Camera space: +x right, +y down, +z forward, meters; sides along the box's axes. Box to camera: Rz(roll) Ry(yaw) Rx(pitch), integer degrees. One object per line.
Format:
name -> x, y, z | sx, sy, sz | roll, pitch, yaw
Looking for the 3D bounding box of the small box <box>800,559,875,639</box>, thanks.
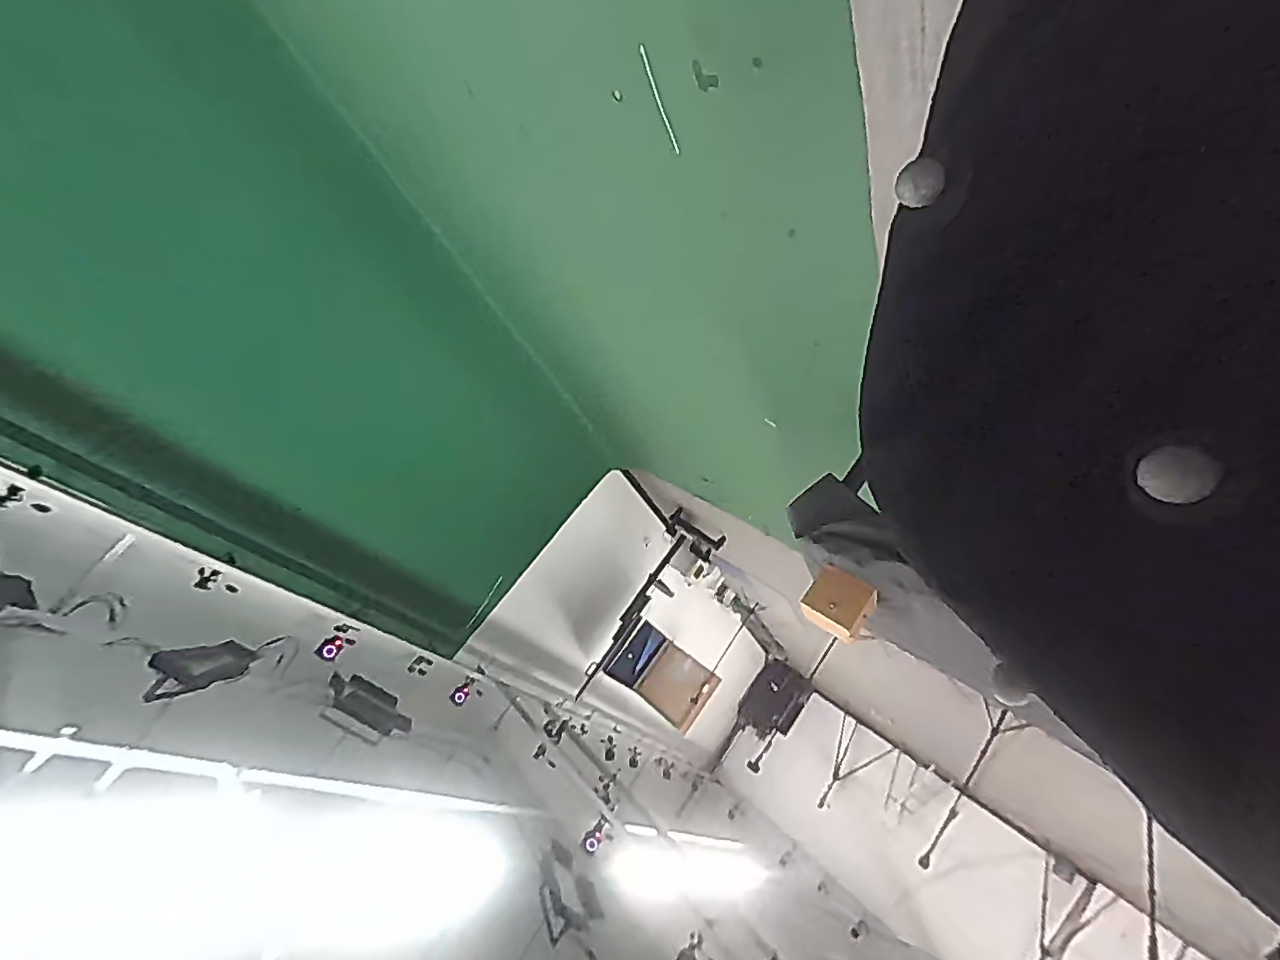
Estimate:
small box -> 0.652, 0.388, 1.776 | 0.179, 0.176, 0.168 | 31, 164, 34
